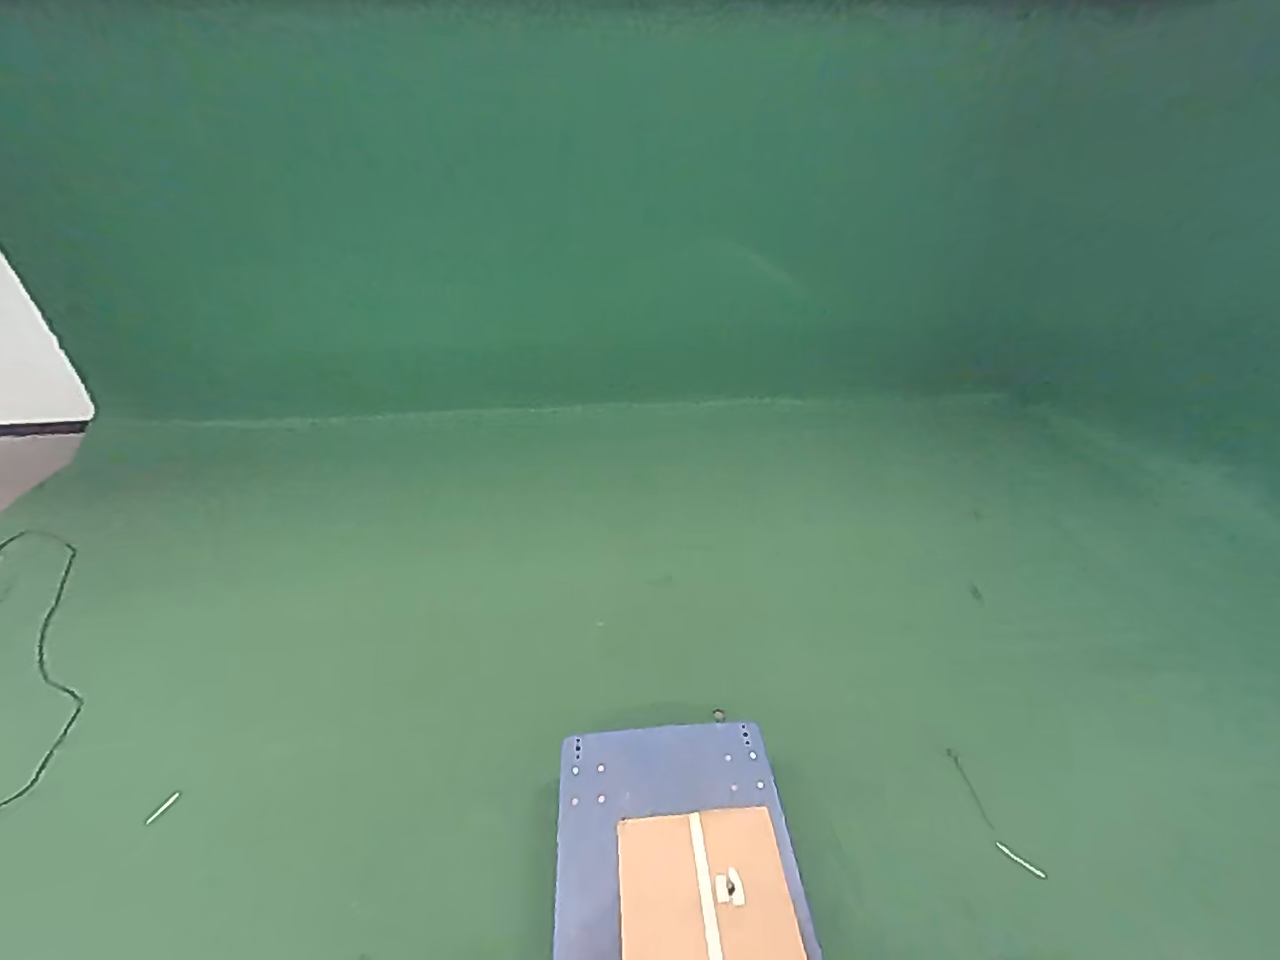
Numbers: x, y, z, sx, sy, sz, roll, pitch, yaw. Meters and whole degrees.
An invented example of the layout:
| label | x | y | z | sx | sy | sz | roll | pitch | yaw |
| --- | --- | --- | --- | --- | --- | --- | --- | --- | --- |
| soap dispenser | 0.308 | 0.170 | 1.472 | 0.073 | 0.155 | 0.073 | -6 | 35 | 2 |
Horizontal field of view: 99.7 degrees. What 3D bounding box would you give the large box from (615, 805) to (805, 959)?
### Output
| label | x | y | z | sx | sy | sz | roll | pitch | yaw |
| --- | --- | --- | --- | --- | --- | --- | --- | --- | --- |
| large box | 0.123 | 0.915 | 1.024 | 0.320 | 0.320 | 0.408 | -3 | 33 | -4 |
